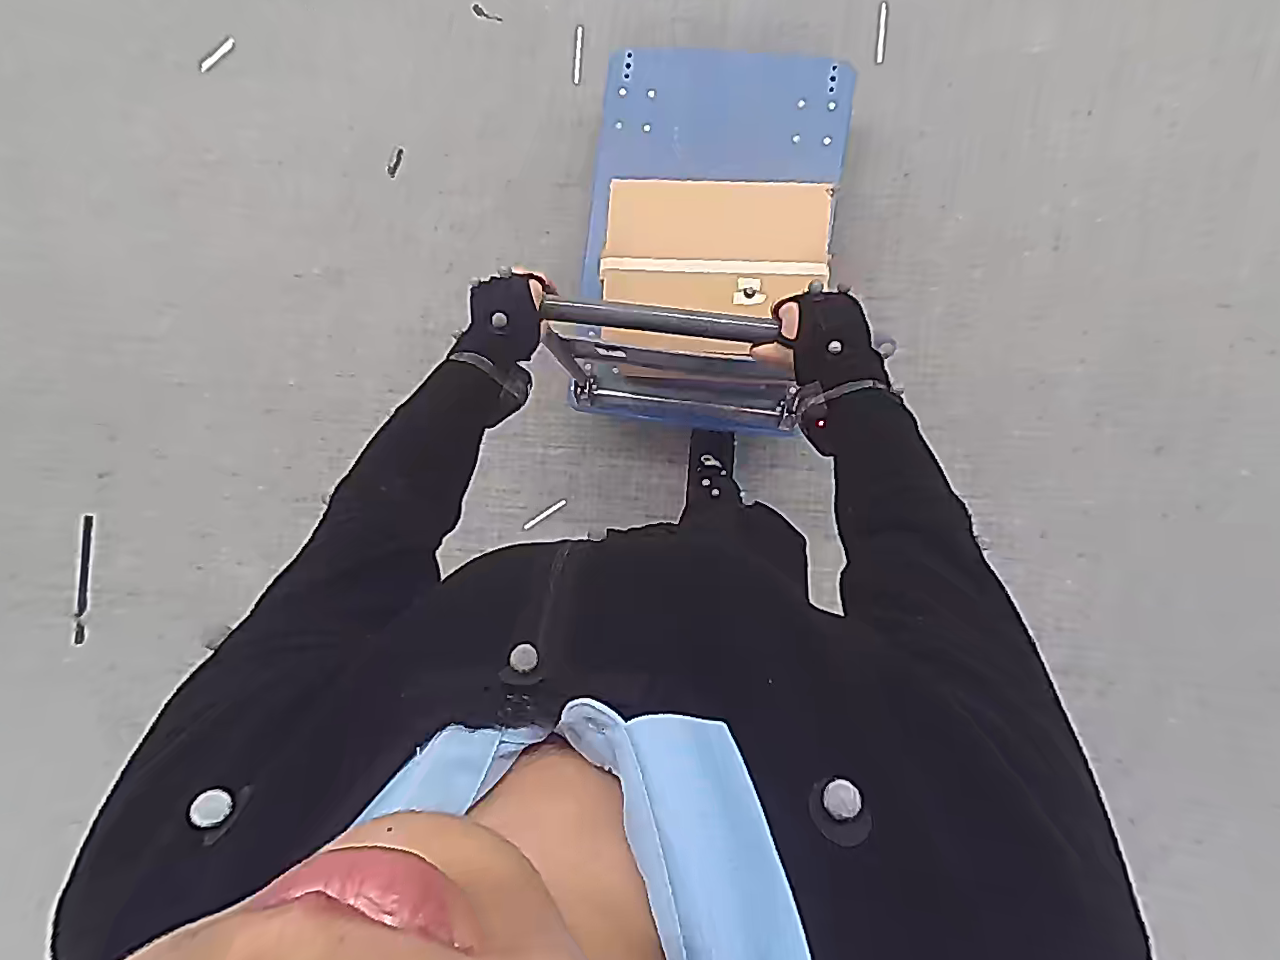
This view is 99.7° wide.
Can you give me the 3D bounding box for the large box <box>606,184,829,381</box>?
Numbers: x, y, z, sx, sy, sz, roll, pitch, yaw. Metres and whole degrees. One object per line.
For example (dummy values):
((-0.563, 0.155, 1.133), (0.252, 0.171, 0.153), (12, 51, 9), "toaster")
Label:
((0.149, -0.394, 1.148), (0.408, 0.320, 0.320), (4, 92, 4), "large box")
